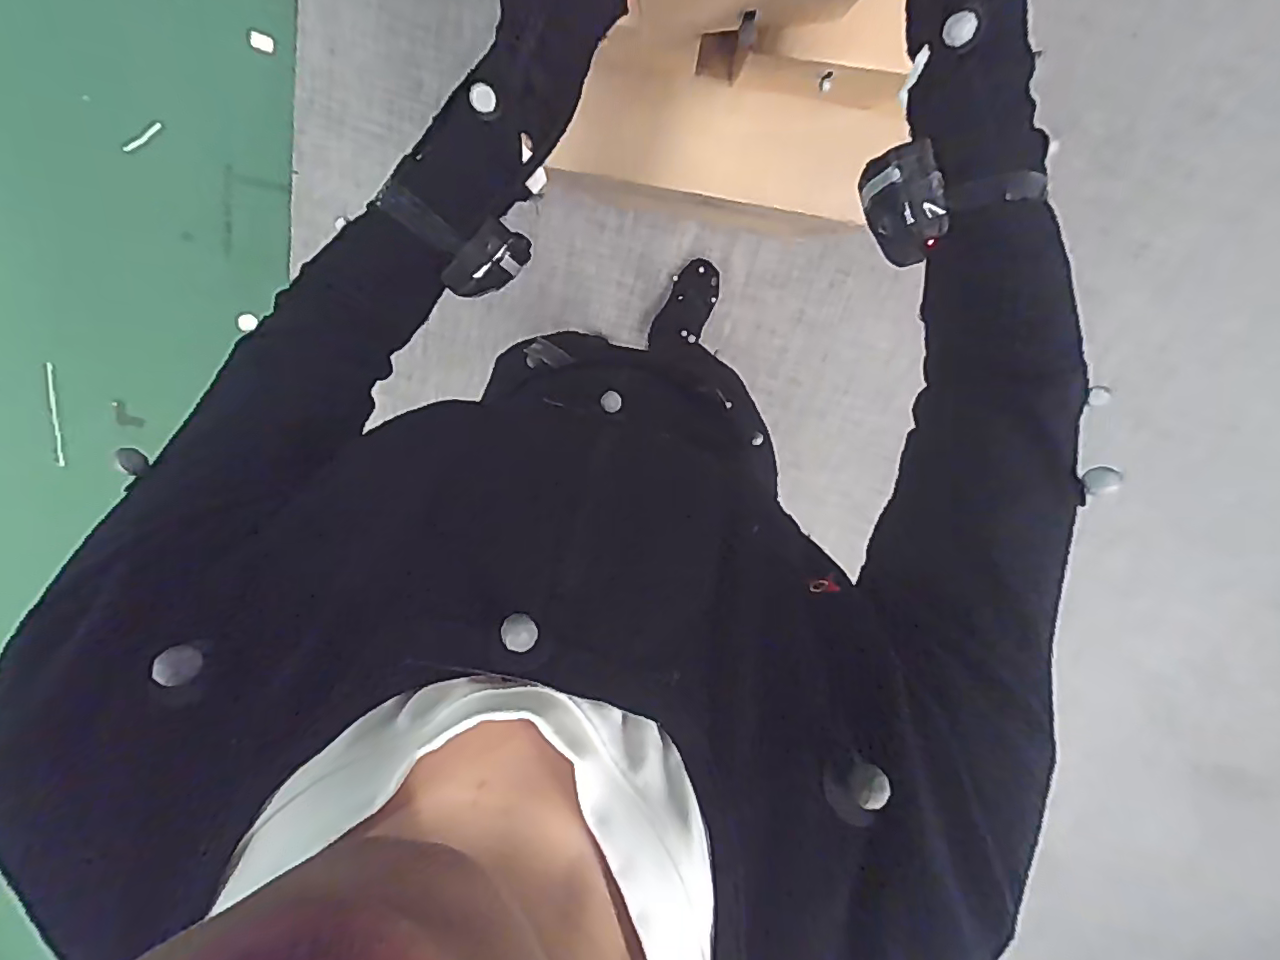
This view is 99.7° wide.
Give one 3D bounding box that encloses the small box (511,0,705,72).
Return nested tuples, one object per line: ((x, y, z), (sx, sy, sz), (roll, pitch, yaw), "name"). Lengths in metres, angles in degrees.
((-0.015, -0.515, 0.516), (0.179, 0.176, 0.168), (8, 117, -1), "small box")

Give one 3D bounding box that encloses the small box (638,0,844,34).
((0.081, -0.434, 0.368), (0.179, 0.176, 0.168), (-3, 117, 4), "small box")

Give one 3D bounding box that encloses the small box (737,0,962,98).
((0.197, -0.485, 0.519), (0.179, 0.176, 0.168), (6, 118, -1), "small box")
